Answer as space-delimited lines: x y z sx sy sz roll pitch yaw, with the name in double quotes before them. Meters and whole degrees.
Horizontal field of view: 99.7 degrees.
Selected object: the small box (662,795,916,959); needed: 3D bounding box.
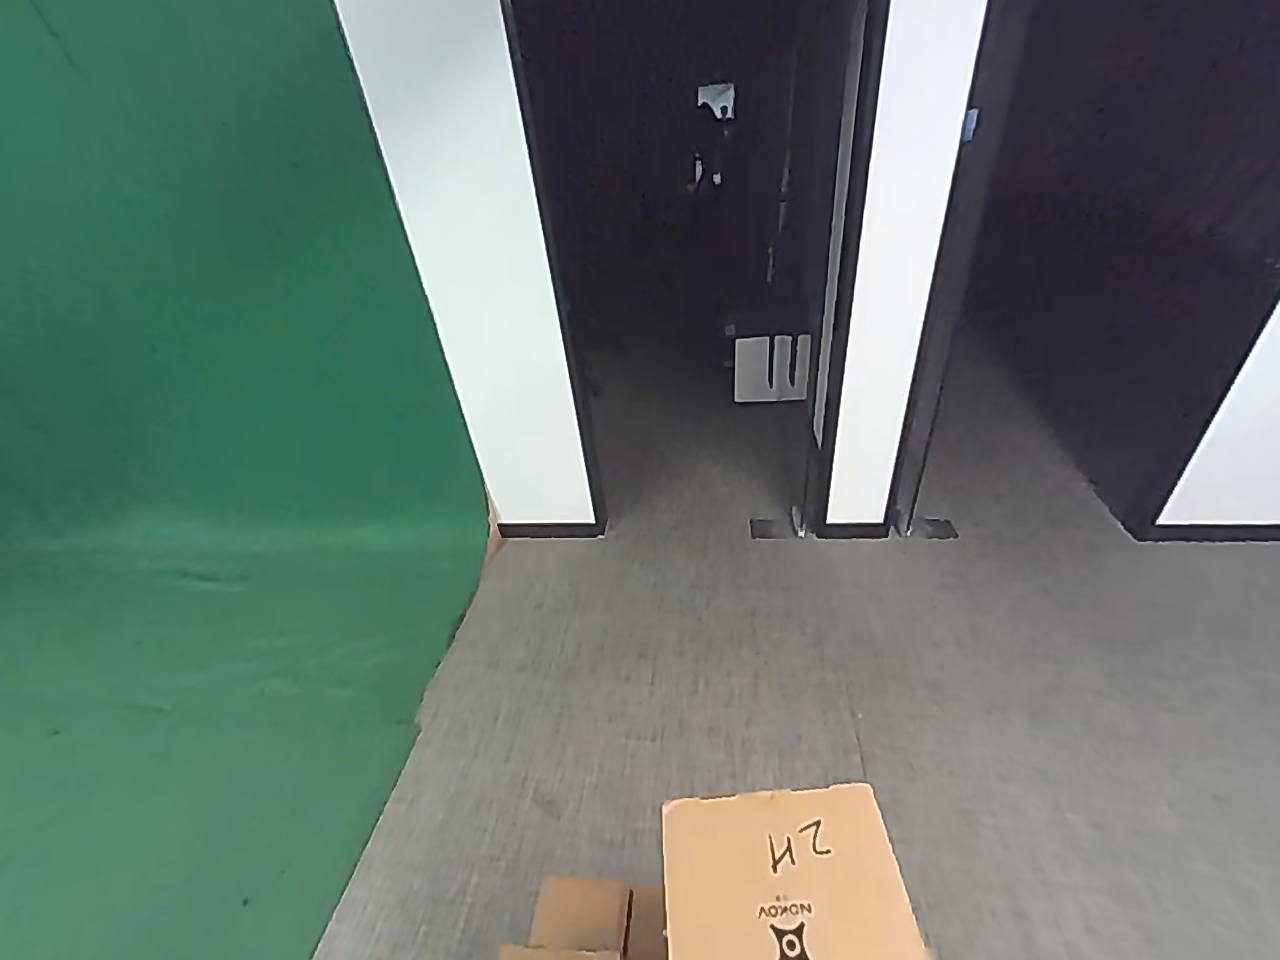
"small box" 0.110 0.372 0.414 0.168 0.176 0.179 -7 39 5
